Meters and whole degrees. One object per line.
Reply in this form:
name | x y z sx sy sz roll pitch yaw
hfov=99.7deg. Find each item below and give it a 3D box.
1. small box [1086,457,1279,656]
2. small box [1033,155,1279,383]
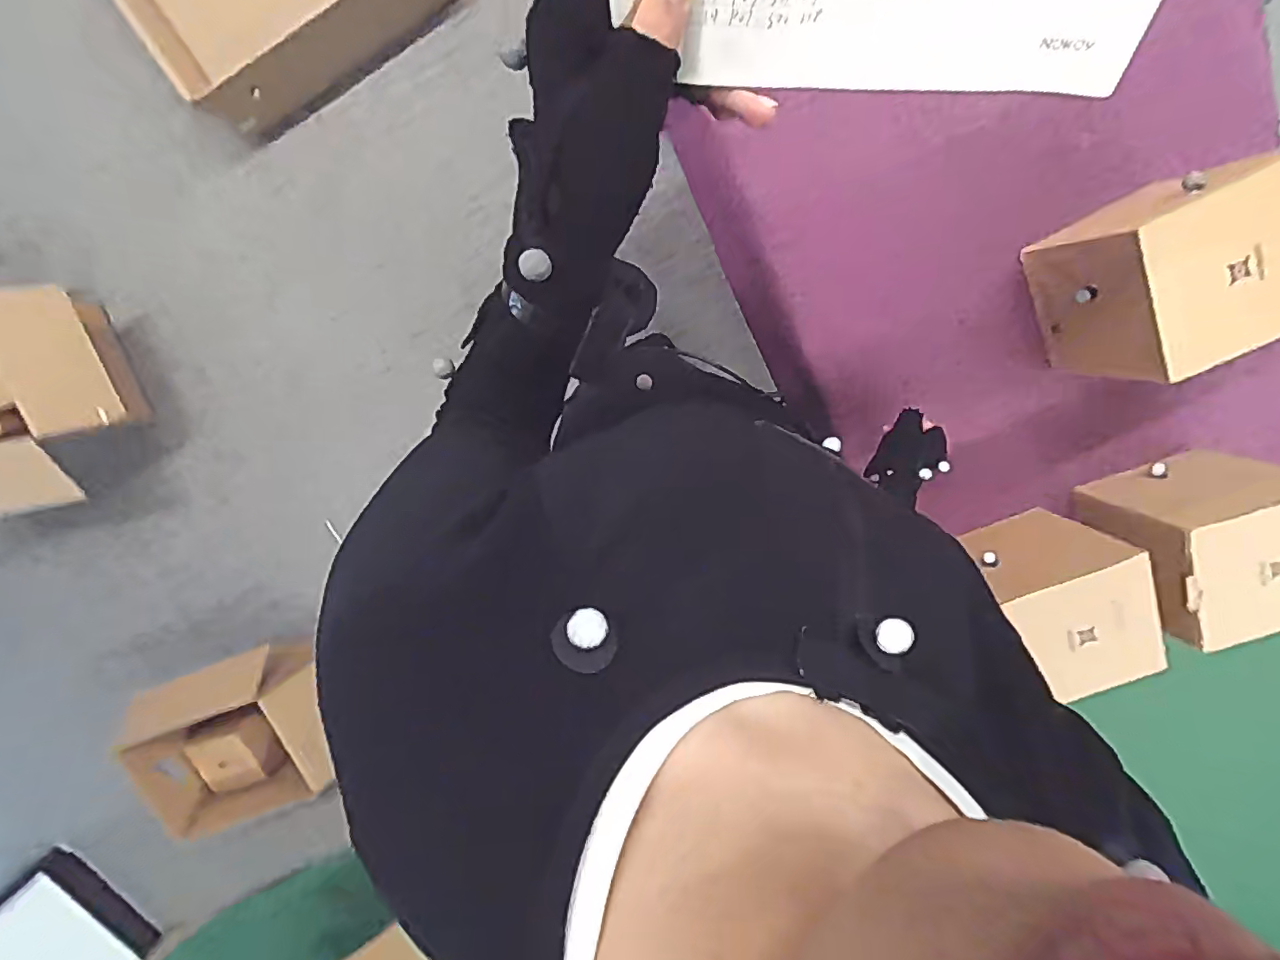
small box | 0.708 0.086 0.680 0.179 0.176 0.168 -19 104 4
small box | 0.583 -0.221 0.601 0.179 0.176 0.168 -26 103 5
